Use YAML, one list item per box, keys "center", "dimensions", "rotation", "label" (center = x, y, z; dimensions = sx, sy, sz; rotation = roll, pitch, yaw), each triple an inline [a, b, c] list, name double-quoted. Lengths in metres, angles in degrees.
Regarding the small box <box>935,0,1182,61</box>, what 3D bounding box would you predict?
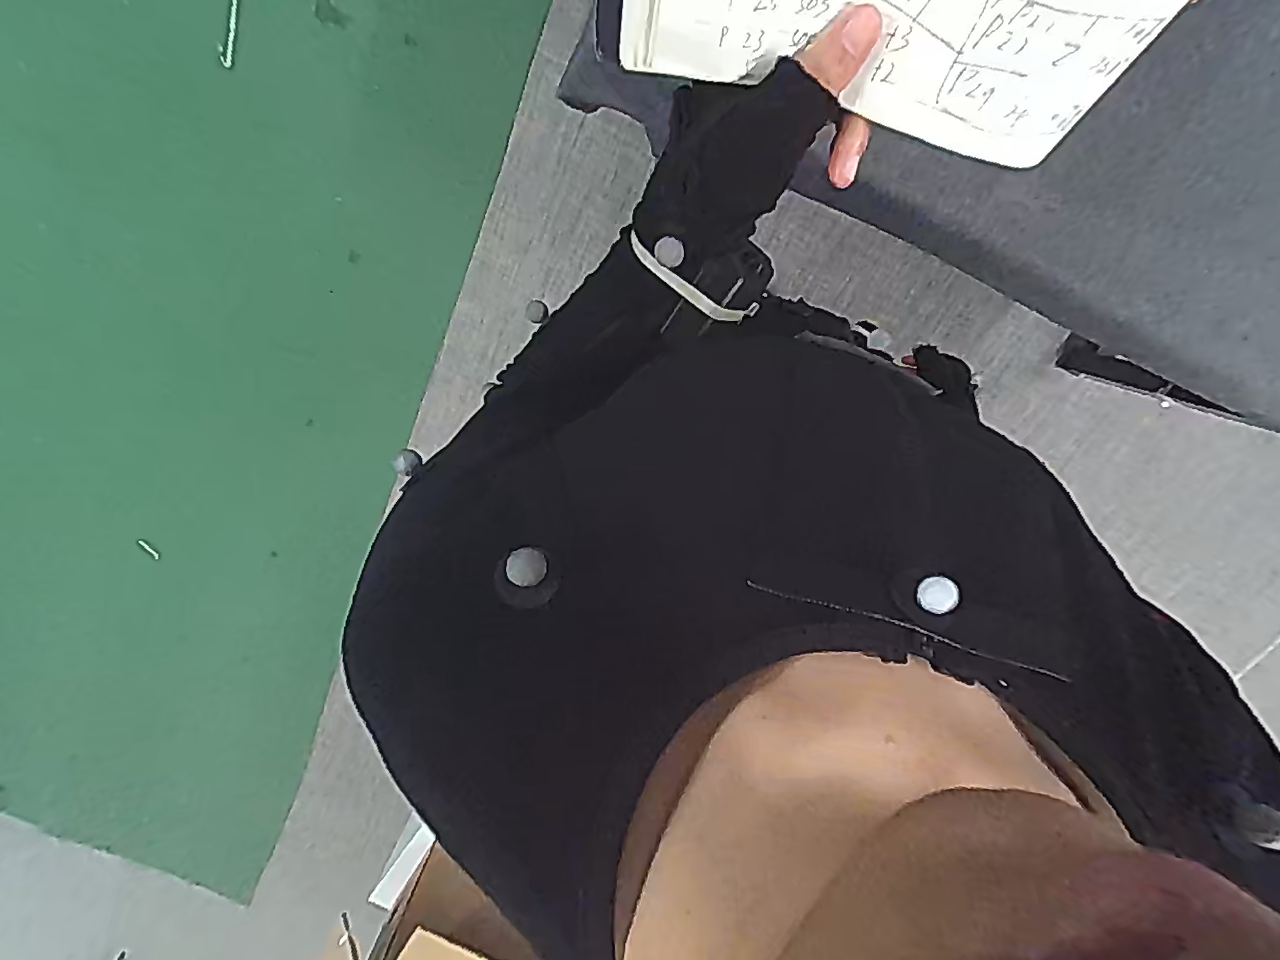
- center: [0.381, -0.498, 0.442]
  dimensions: [0.168, 0.176, 0.179]
  rotation: [21, 112, -3]
  label: "small box"
